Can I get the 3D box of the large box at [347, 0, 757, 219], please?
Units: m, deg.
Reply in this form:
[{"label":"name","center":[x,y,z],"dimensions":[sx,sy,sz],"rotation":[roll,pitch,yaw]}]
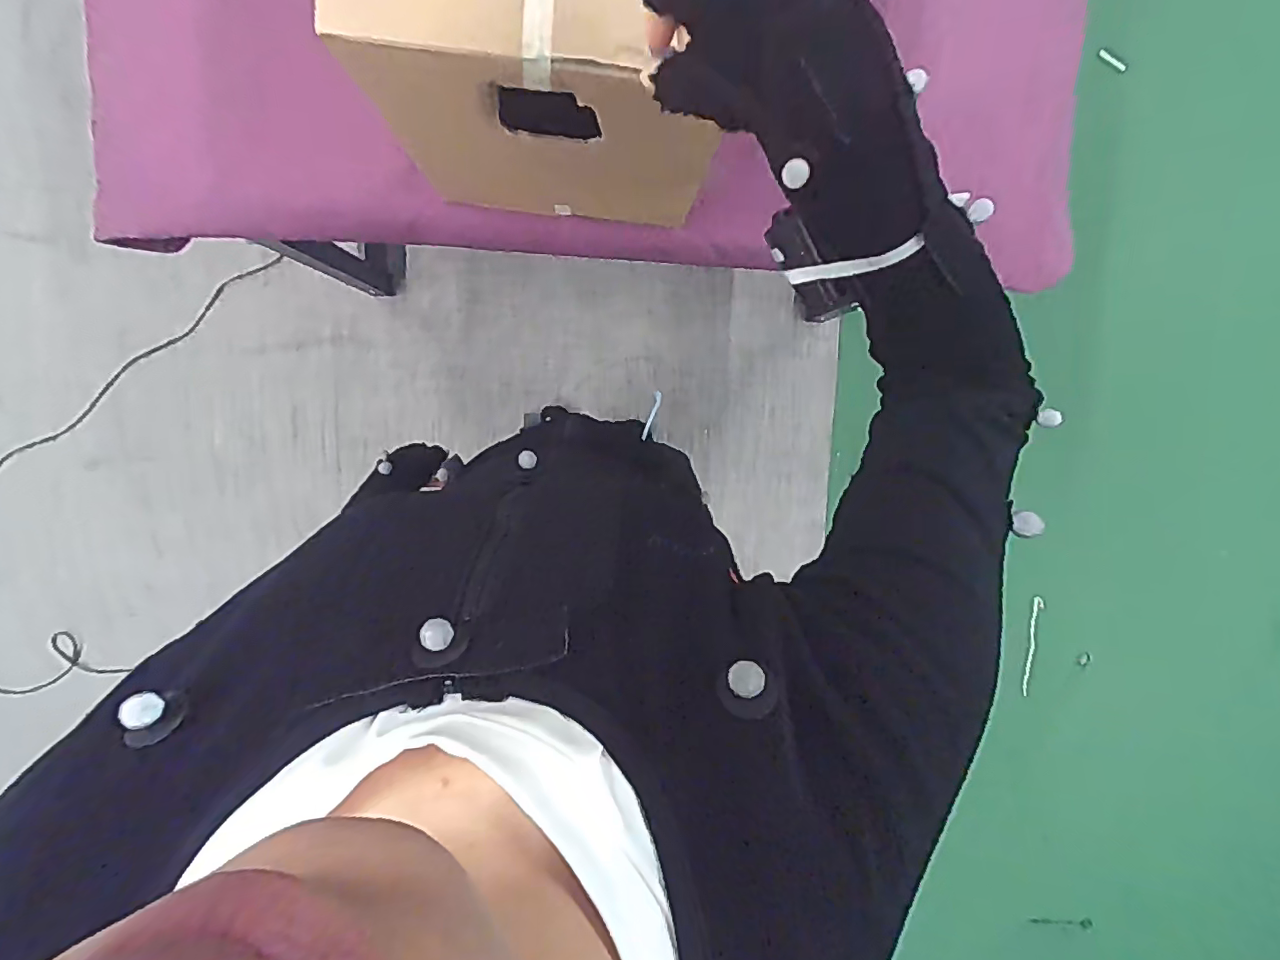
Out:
[{"label":"large box","center":[-0.064,-0.530,0.533],"dimensions":[0.320,0.320,0.408],"rotation":[4,98,-5]}]
